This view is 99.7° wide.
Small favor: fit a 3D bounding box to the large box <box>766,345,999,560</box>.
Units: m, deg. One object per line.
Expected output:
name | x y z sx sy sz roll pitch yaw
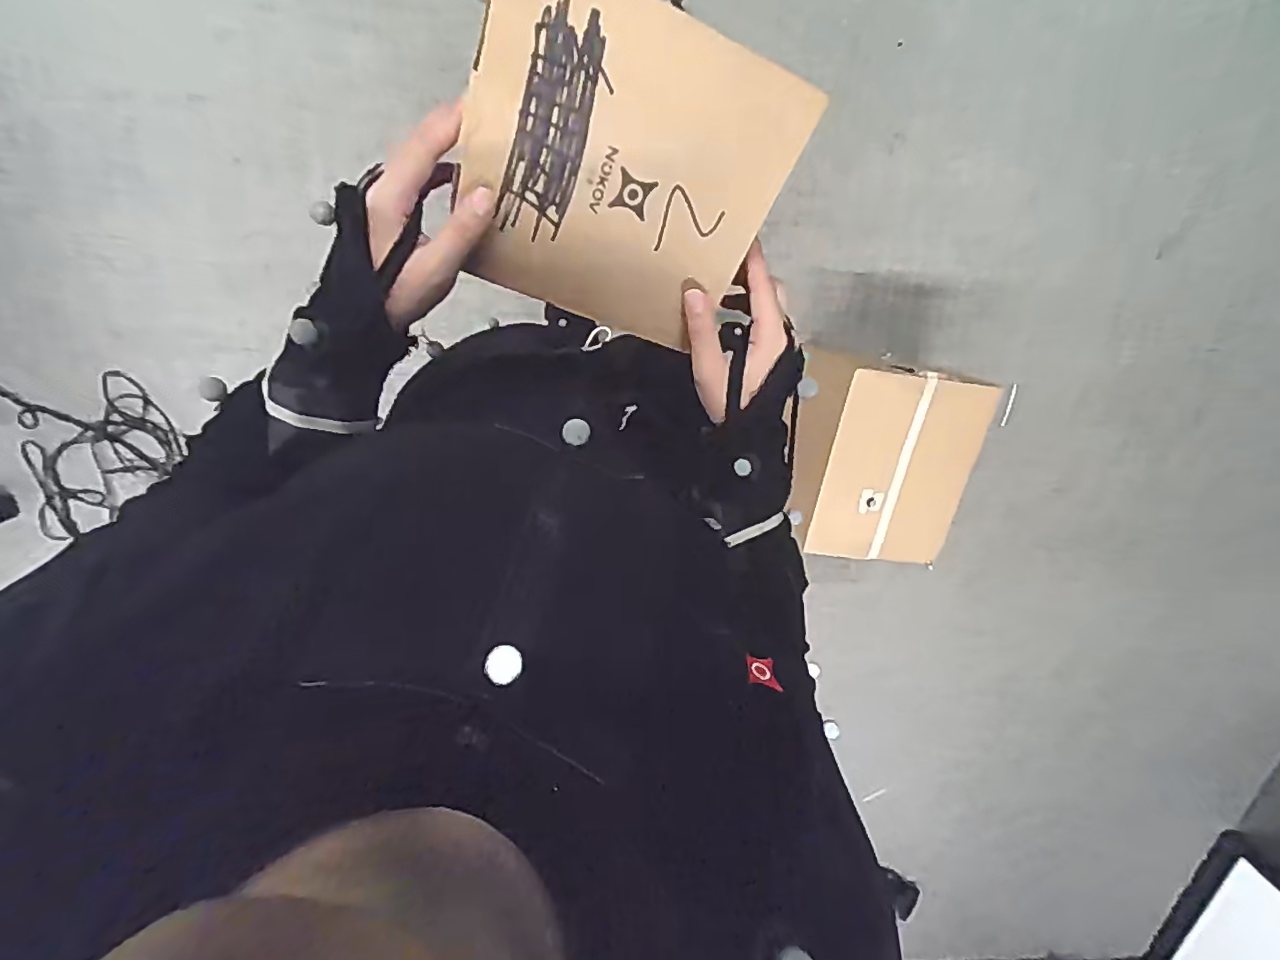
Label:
large box | 0.518 -0.074 1.246 0.320 0.320 0.408 6 113 -6
